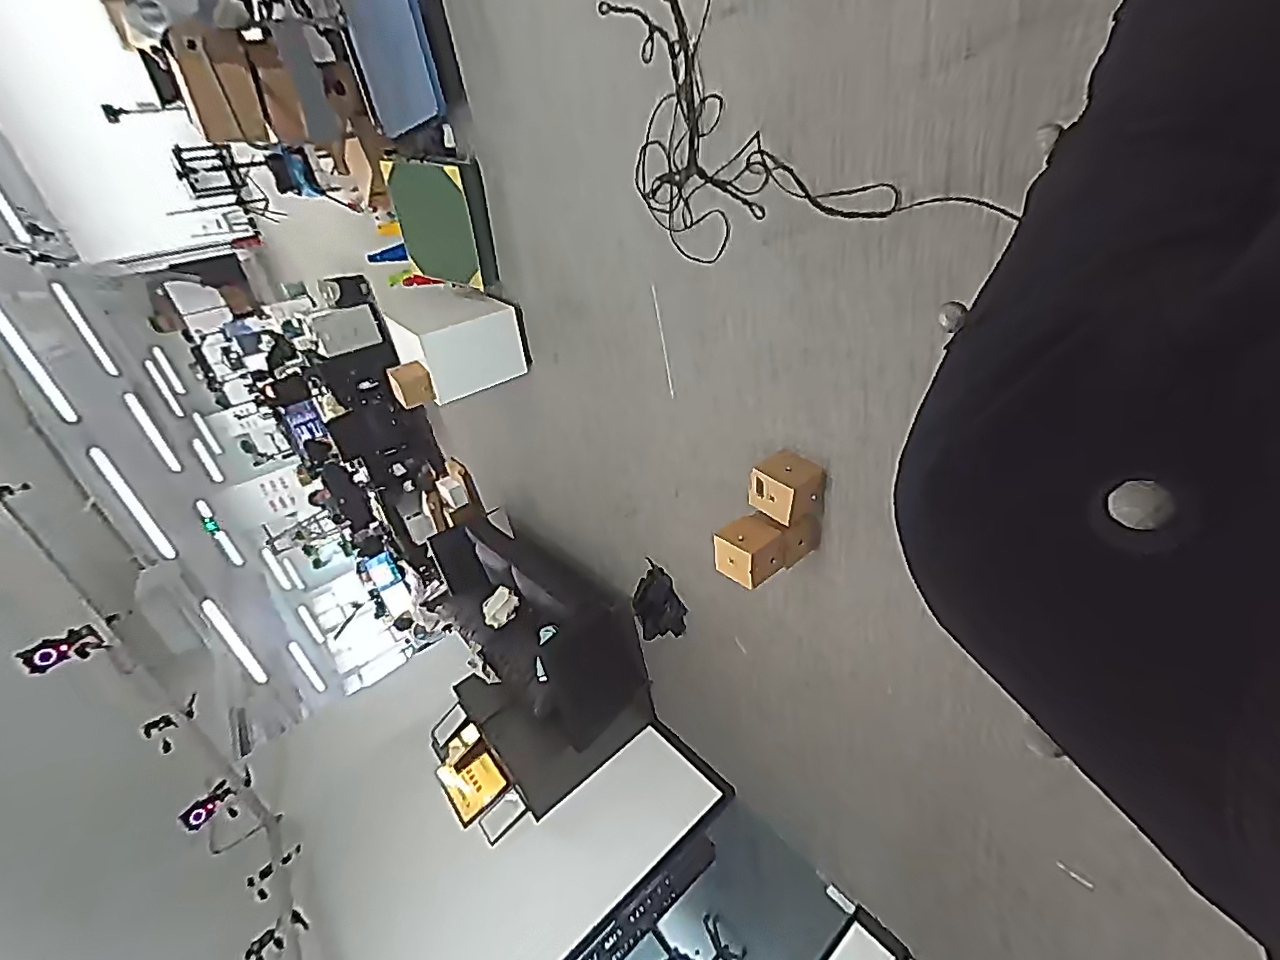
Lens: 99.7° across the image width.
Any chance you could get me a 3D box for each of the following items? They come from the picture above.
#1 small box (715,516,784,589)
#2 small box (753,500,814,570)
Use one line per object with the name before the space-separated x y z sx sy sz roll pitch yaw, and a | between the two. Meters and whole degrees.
small box | 0.393 0.252 1.934 0.179 0.176 0.168 27 136 45
small box | 0.528 0.198 2.009 0.179 0.176 0.168 26 136 44
